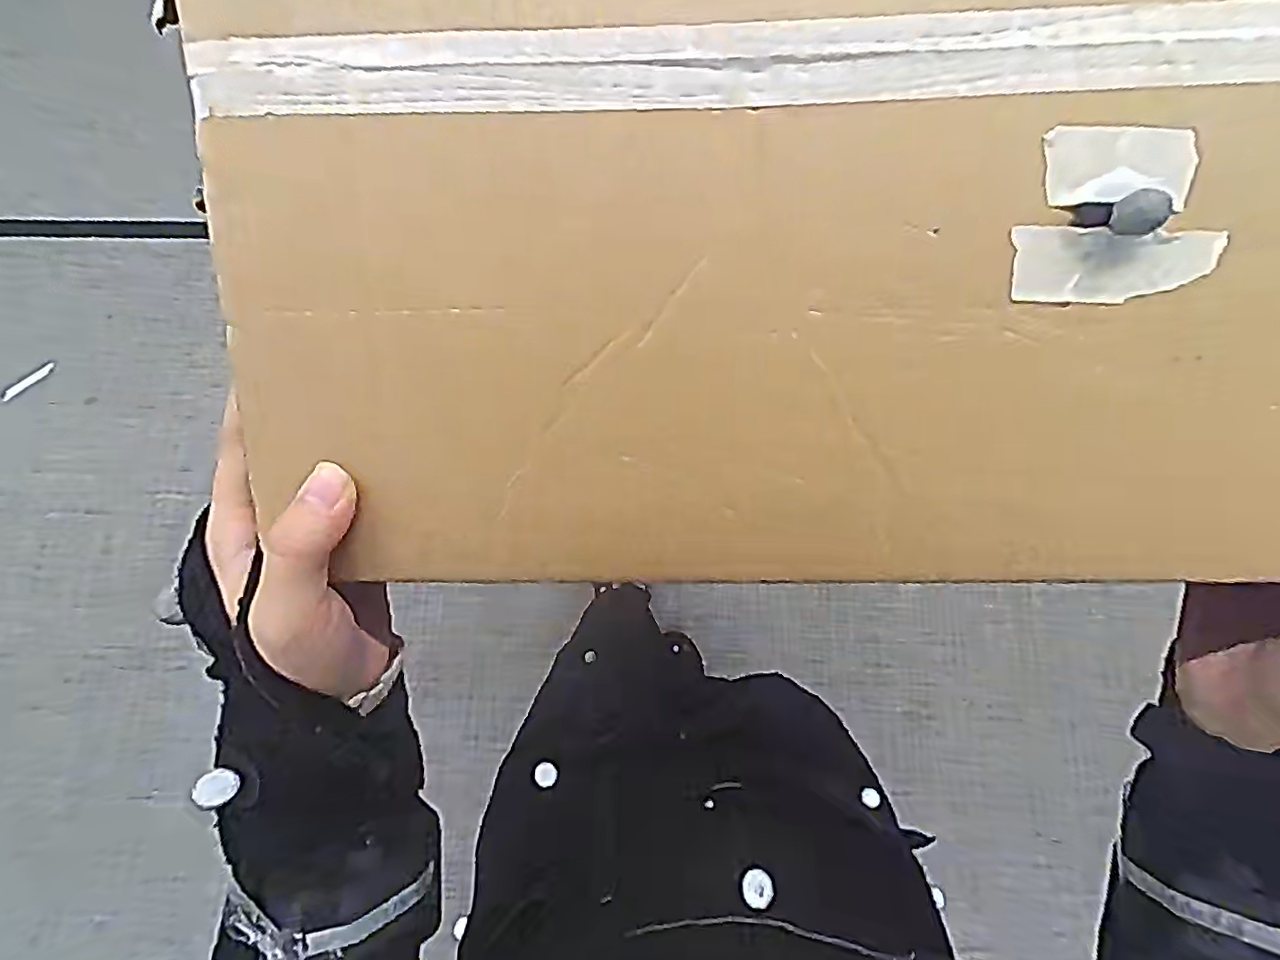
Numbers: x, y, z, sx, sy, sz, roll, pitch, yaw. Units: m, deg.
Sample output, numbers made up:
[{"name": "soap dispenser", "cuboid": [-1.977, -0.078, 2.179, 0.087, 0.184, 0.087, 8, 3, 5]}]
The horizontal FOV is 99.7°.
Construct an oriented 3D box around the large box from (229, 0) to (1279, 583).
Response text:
[{"name": "large box", "cuboid": [0.070, -0.141, 0.318, 0.408, 0.320, 0.320, -1, 99, 1]}]
